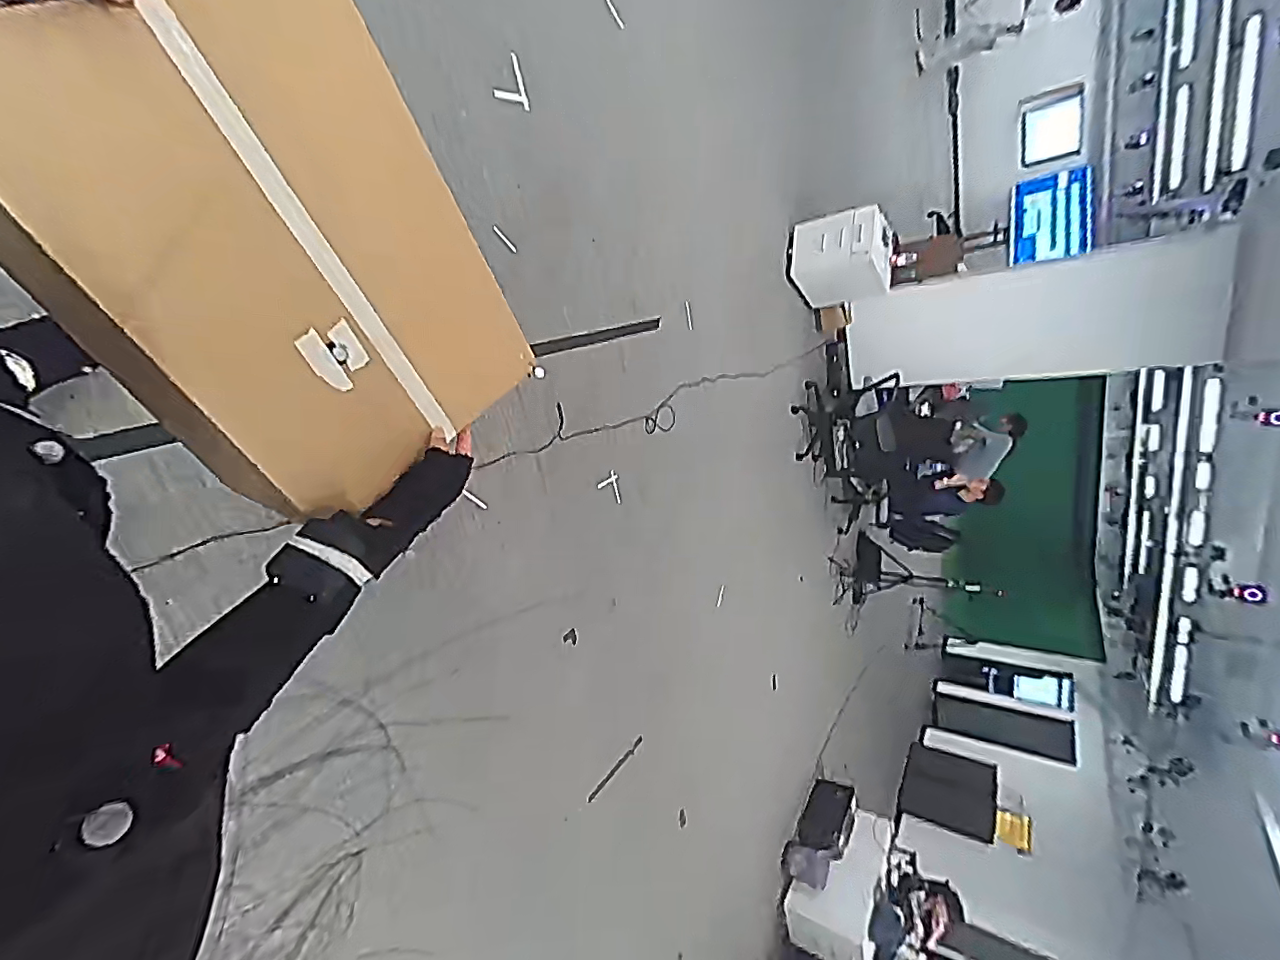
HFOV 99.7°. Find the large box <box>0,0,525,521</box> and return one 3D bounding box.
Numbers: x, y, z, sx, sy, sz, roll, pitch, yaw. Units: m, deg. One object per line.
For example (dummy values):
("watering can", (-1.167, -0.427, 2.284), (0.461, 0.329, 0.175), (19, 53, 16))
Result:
("large box", (-0.409, -0.221, 0.586), (0.320, 0.320, 0.408), (-51, 134, -31))
